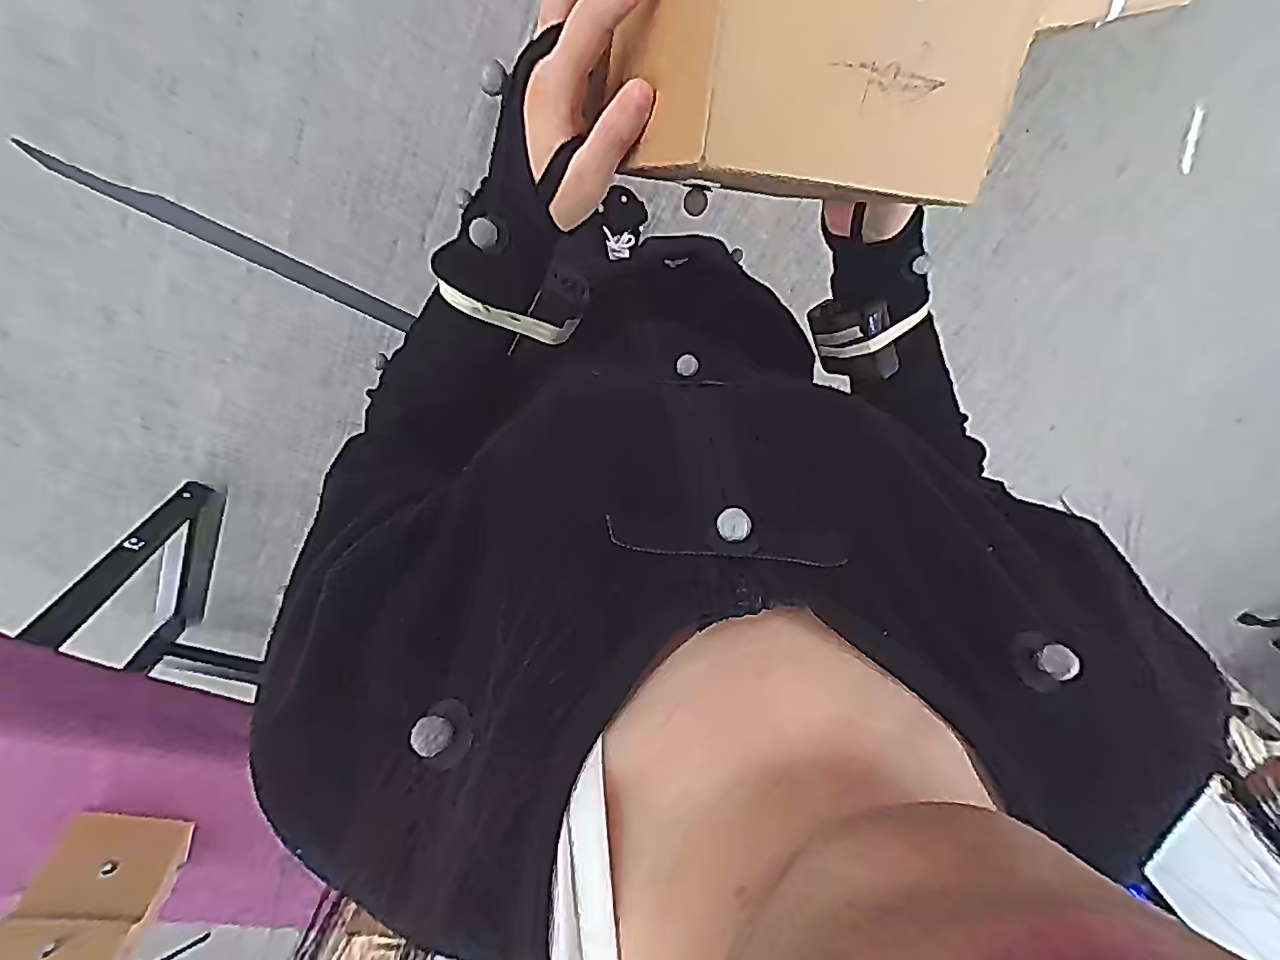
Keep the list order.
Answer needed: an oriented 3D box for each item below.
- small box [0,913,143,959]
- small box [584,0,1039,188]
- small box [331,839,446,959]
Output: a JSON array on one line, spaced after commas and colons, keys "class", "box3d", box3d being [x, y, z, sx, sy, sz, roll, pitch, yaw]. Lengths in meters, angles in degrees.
[{"class": "small box", "box3d": [-0.918, 0.795, 0.823, 0.179, 0.176, 0.168, 18, 117, -18]}, {"class": "small box", "box3d": [0.075, -0.256, 0.274, 0.168, 0.176, 0.179, -7, 120, -23]}, {"class": "small box", "box3d": [-0.519, 0.888, 1.133, 0.168, 0.176, 0.179, 22, 116, -20]}]
